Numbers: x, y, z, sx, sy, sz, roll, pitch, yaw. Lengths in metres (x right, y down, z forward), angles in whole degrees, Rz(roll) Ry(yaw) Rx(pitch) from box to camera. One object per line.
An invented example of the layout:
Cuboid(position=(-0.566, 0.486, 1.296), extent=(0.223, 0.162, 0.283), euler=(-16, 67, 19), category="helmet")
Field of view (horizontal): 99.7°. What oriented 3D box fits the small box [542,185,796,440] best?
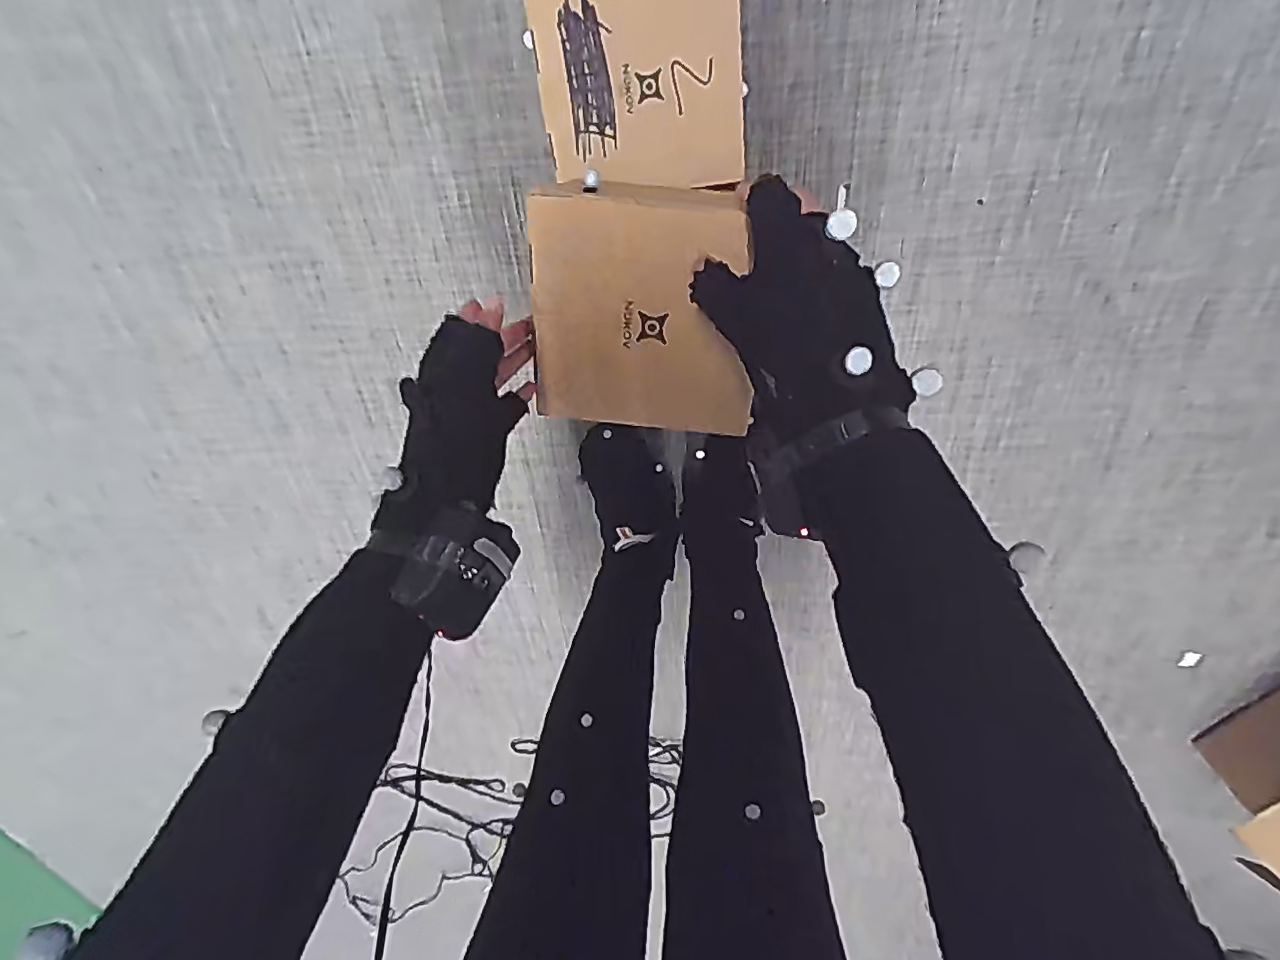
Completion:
Cuboid(position=(0.021, -0.154, 0.472), extent=(0.179, 0.176, 0.168), euler=(9, 122, 4), category="small box")
